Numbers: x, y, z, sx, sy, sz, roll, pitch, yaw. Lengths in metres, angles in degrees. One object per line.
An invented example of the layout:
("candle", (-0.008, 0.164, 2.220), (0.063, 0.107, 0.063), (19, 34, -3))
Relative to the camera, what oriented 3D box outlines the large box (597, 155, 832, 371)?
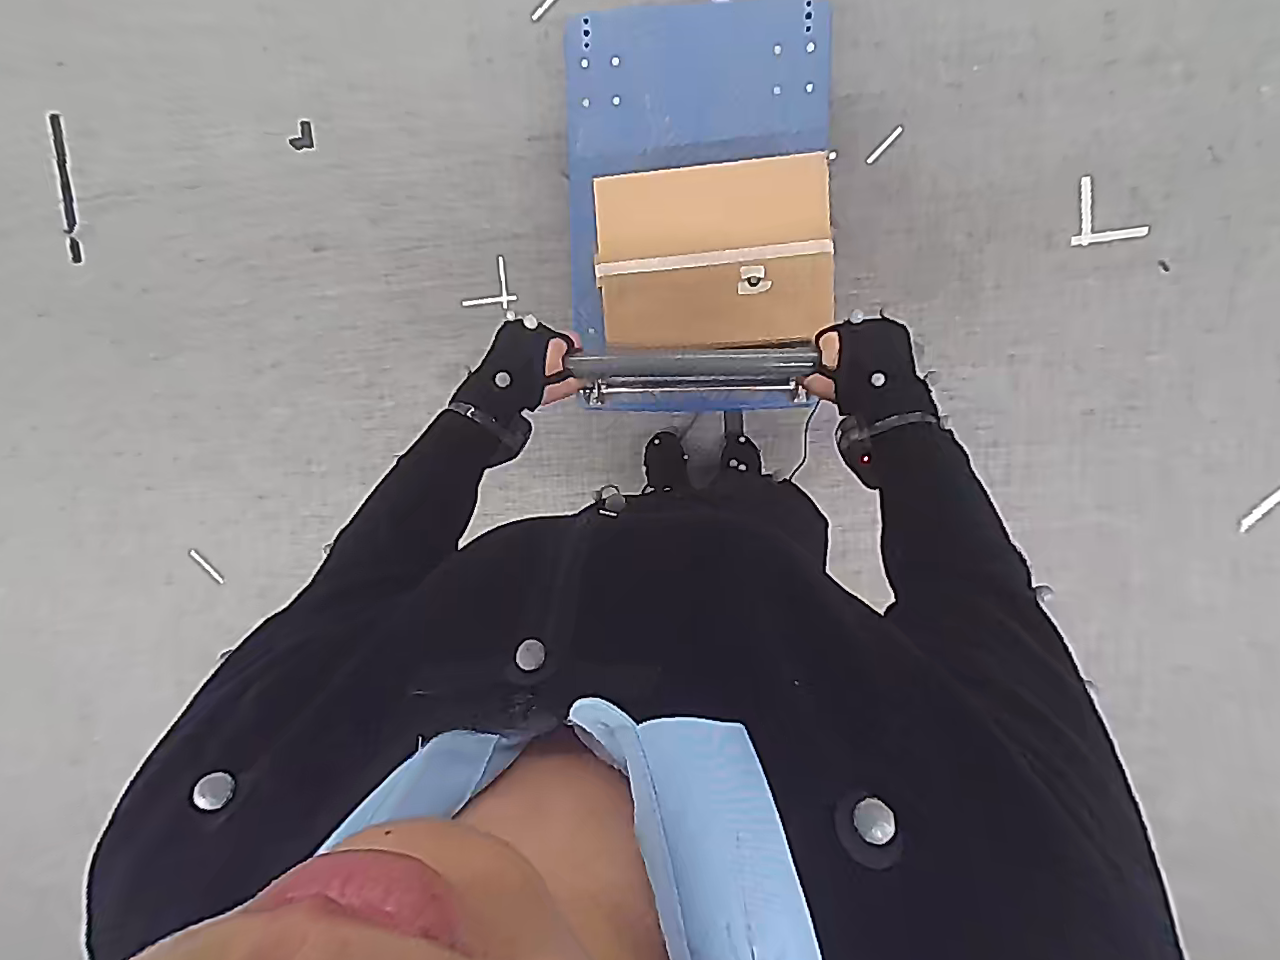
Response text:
("large box", (0.141, -0.410, 1.110), (0.408, 0.320, 0.320), (-4, 97, 4))
